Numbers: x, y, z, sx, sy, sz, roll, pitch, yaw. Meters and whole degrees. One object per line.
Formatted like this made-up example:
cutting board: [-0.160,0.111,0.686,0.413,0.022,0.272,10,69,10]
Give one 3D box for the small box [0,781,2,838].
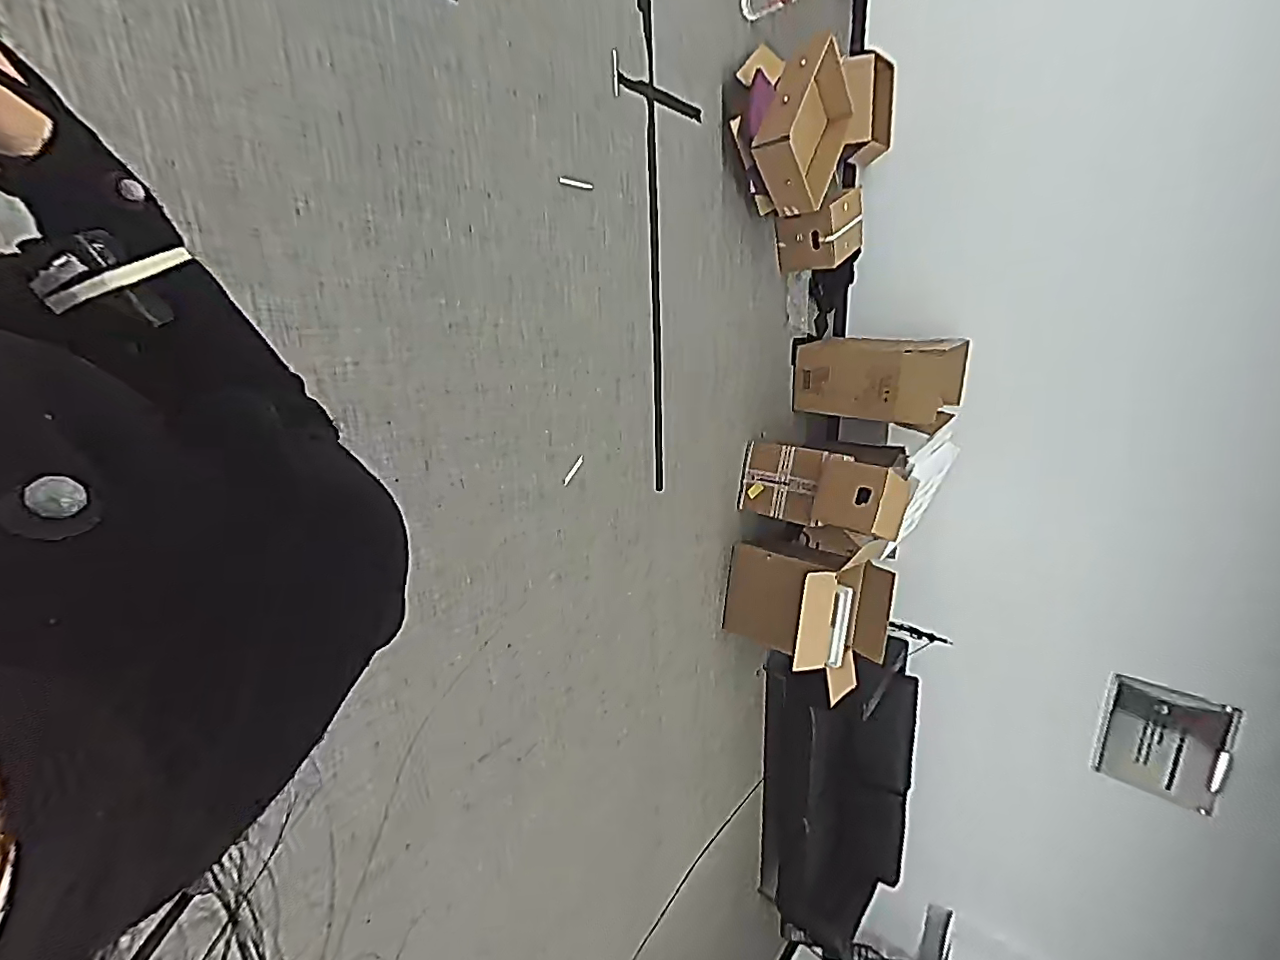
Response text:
small box: [-1.240,0.566,0.913,0.179,0.176,0.168,-27,120,-43]
